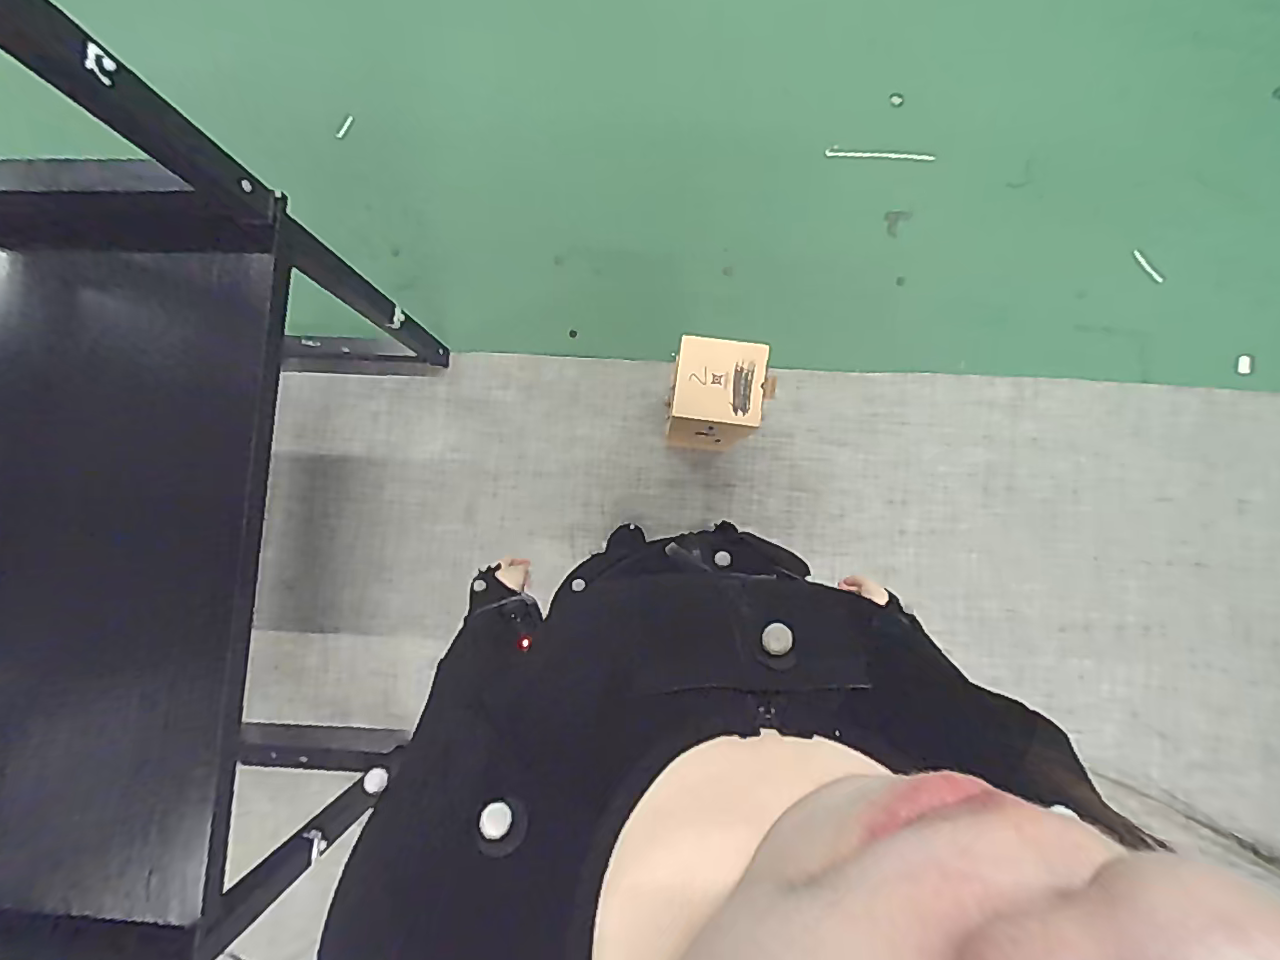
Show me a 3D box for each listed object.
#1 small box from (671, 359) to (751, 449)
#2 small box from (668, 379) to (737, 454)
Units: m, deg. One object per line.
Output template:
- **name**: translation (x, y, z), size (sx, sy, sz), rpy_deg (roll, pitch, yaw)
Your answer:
- **small box**: translation (0.162, -0.173, 1.284), size (0.168, 0.176, 0.179), rpy_deg (5, 85, 1)
- **small box**: translation (0.170, -0.166, 1.445), size (0.179, 0.176, 0.168), rpy_deg (6, 86, 1)
